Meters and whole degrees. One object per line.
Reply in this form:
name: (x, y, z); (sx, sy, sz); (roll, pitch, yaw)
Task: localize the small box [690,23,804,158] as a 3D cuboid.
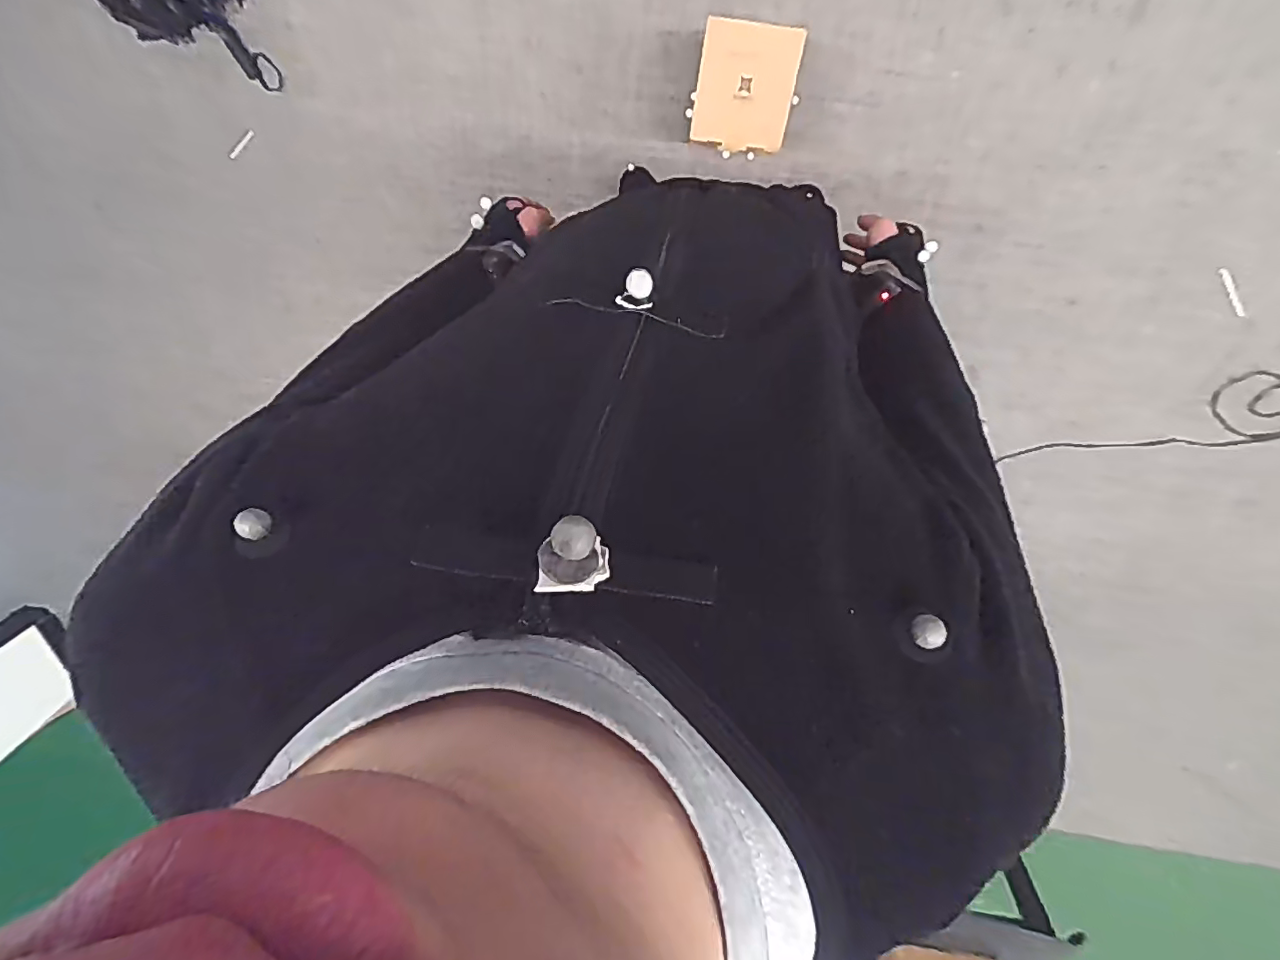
small box: (0.190, -0.704, 0.997); (0.168, 0.176, 0.179); (9, 120, 2)
